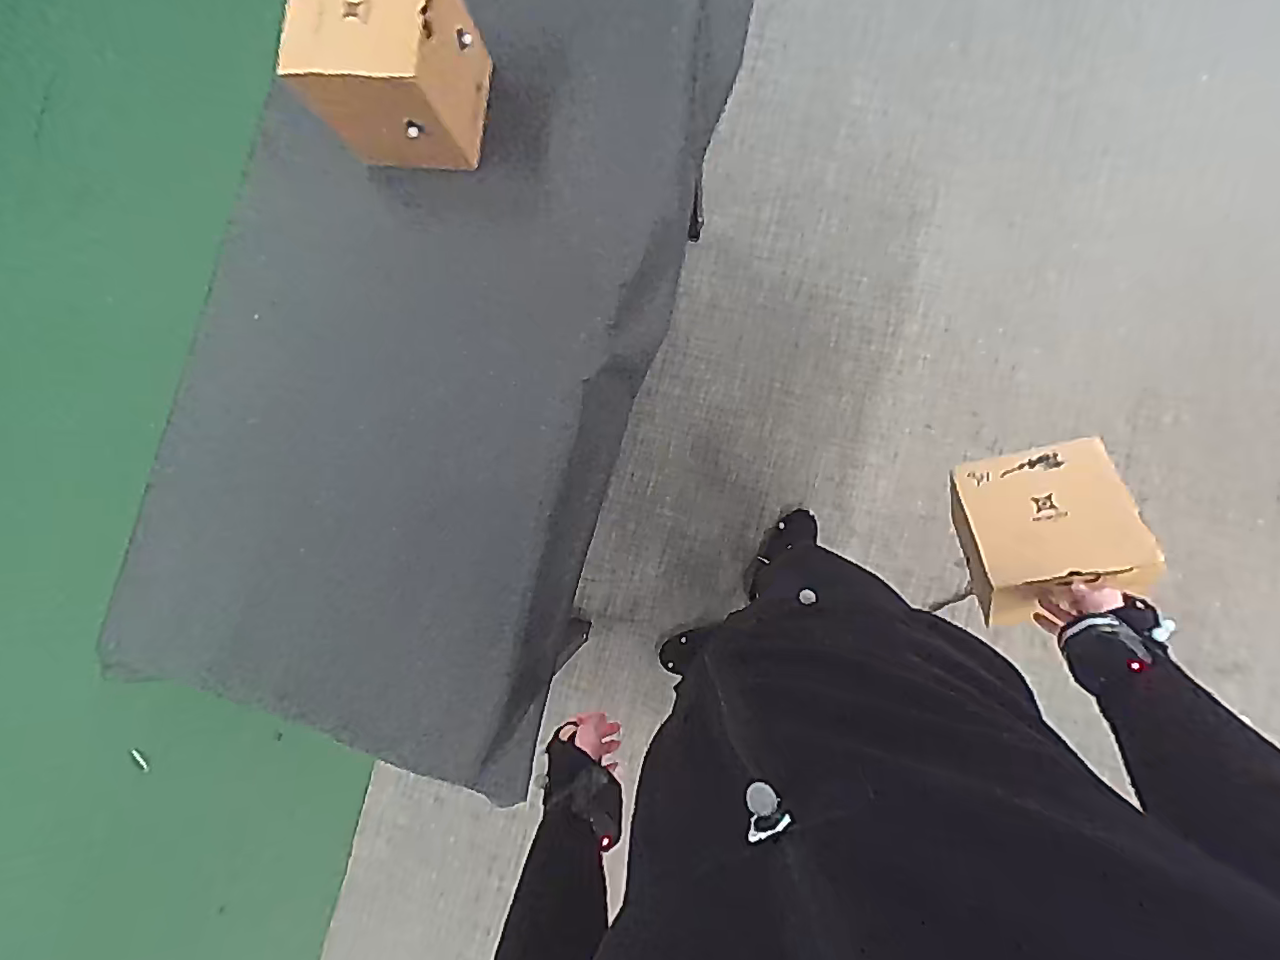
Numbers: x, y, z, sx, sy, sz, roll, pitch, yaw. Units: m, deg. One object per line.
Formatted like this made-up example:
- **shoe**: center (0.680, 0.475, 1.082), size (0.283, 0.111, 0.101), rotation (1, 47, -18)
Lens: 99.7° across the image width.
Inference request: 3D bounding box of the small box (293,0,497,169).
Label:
- **small box**: center (-0.307, -0.542, 0.715), size (0.179, 0.176, 0.168), rotation (7, 85, 8)

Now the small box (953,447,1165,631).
- **small box**: center (0.528, 0.089, 0.710), size (0.168, 0.176, 0.179), rotation (-14, 52, 23)
